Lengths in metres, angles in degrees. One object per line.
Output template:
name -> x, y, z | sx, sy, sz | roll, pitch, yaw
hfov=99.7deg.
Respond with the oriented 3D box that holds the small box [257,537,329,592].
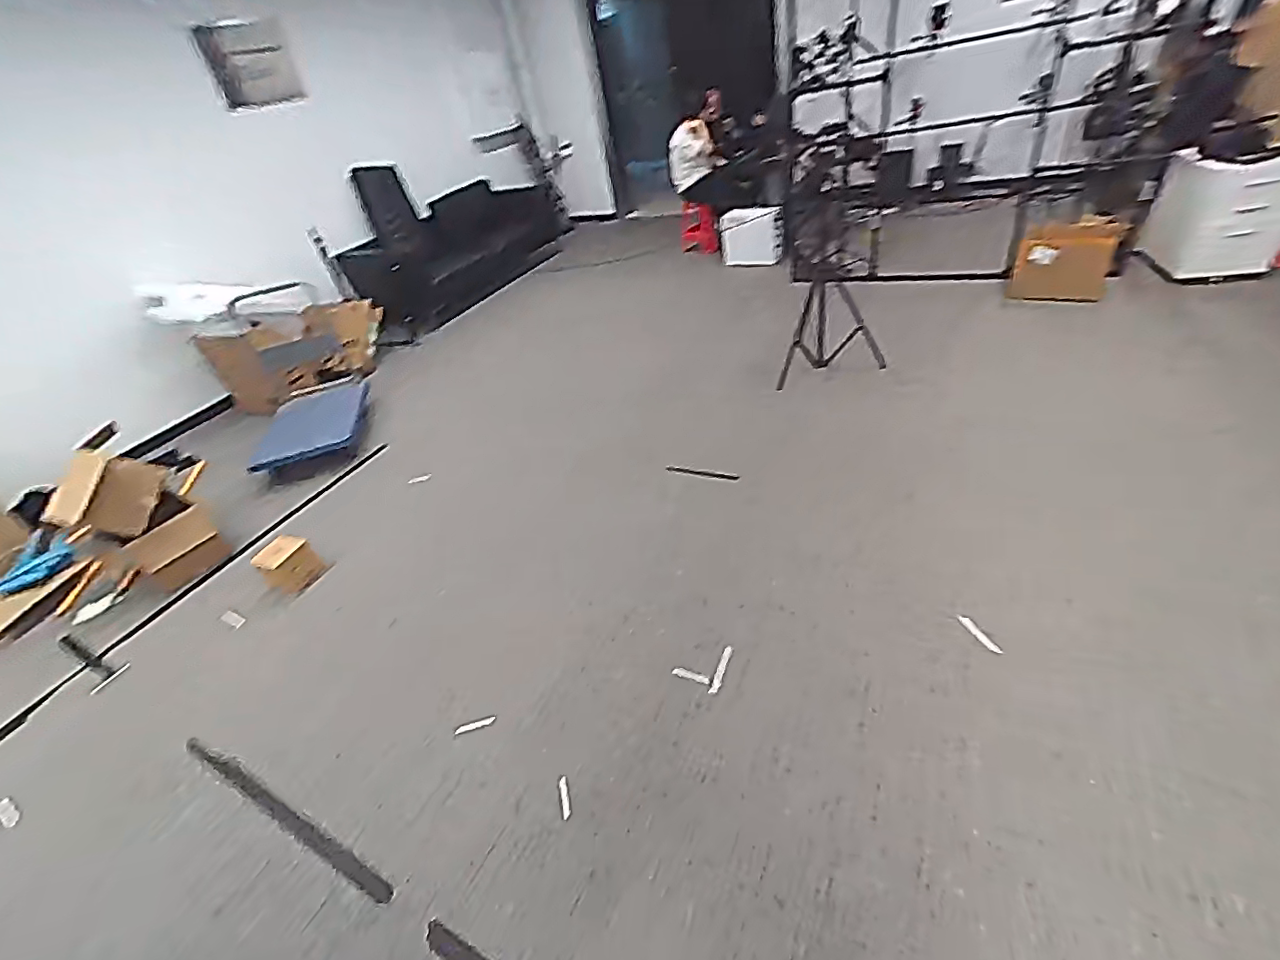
small box -> -1.539, 0.379, 2.408 | 0.179, 0.176, 0.168 | 4, 40, 22
